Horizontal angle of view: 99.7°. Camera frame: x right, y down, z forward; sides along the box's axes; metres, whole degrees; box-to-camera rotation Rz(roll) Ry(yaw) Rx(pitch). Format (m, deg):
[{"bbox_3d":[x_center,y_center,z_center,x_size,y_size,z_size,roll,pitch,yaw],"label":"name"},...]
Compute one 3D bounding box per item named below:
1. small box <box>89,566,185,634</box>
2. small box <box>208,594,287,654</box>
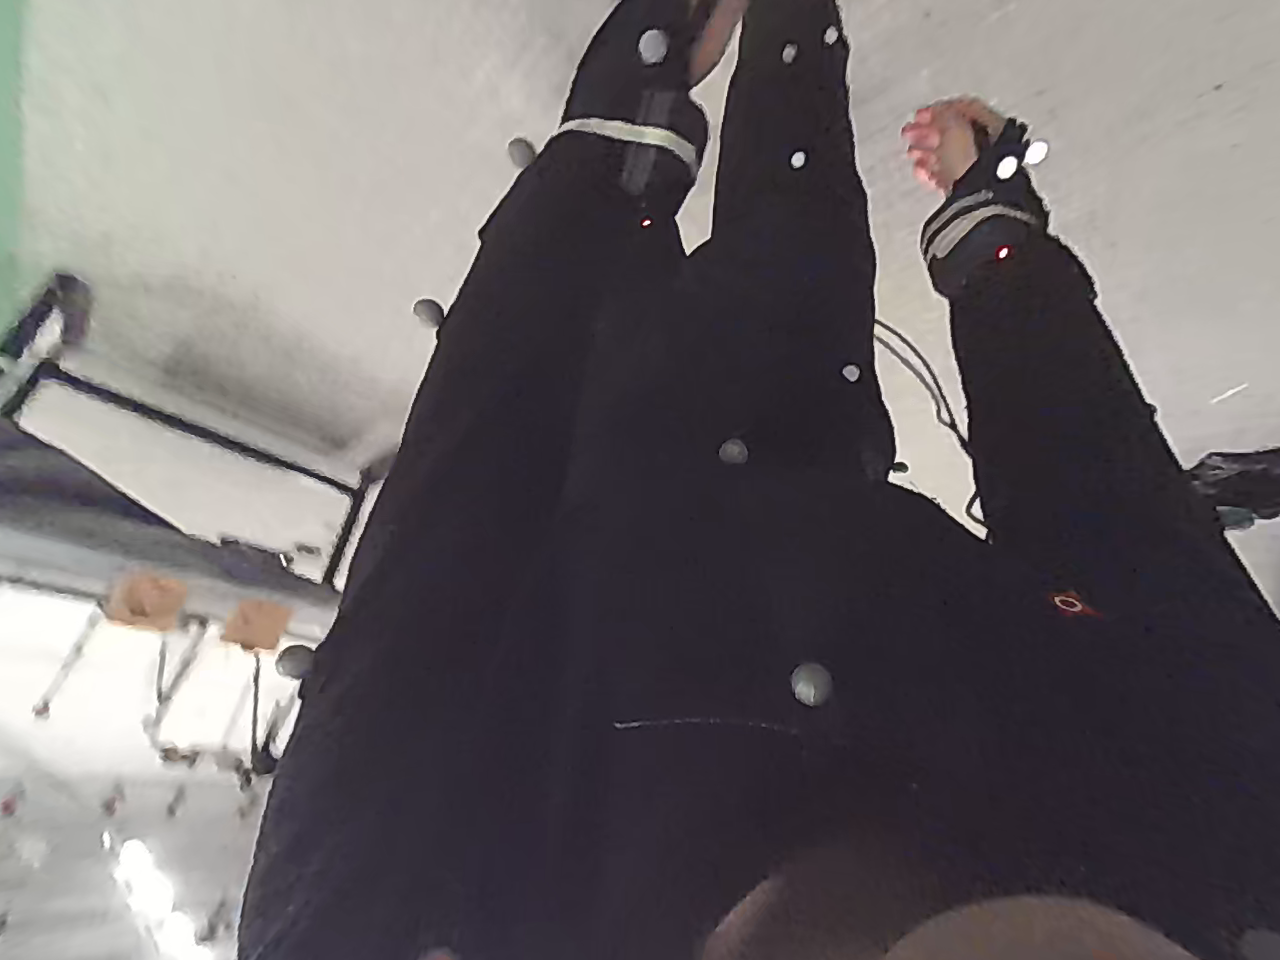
[{"bbox_3d":[-1.580,0.381,1.703,0.179,0.176,0.168,-16,145,39],"label":"small box"},{"bbox_3d":[-1.369,0.504,1.892,0.168,0.176,0.179,29,148,-34],"label":"small box"}]
